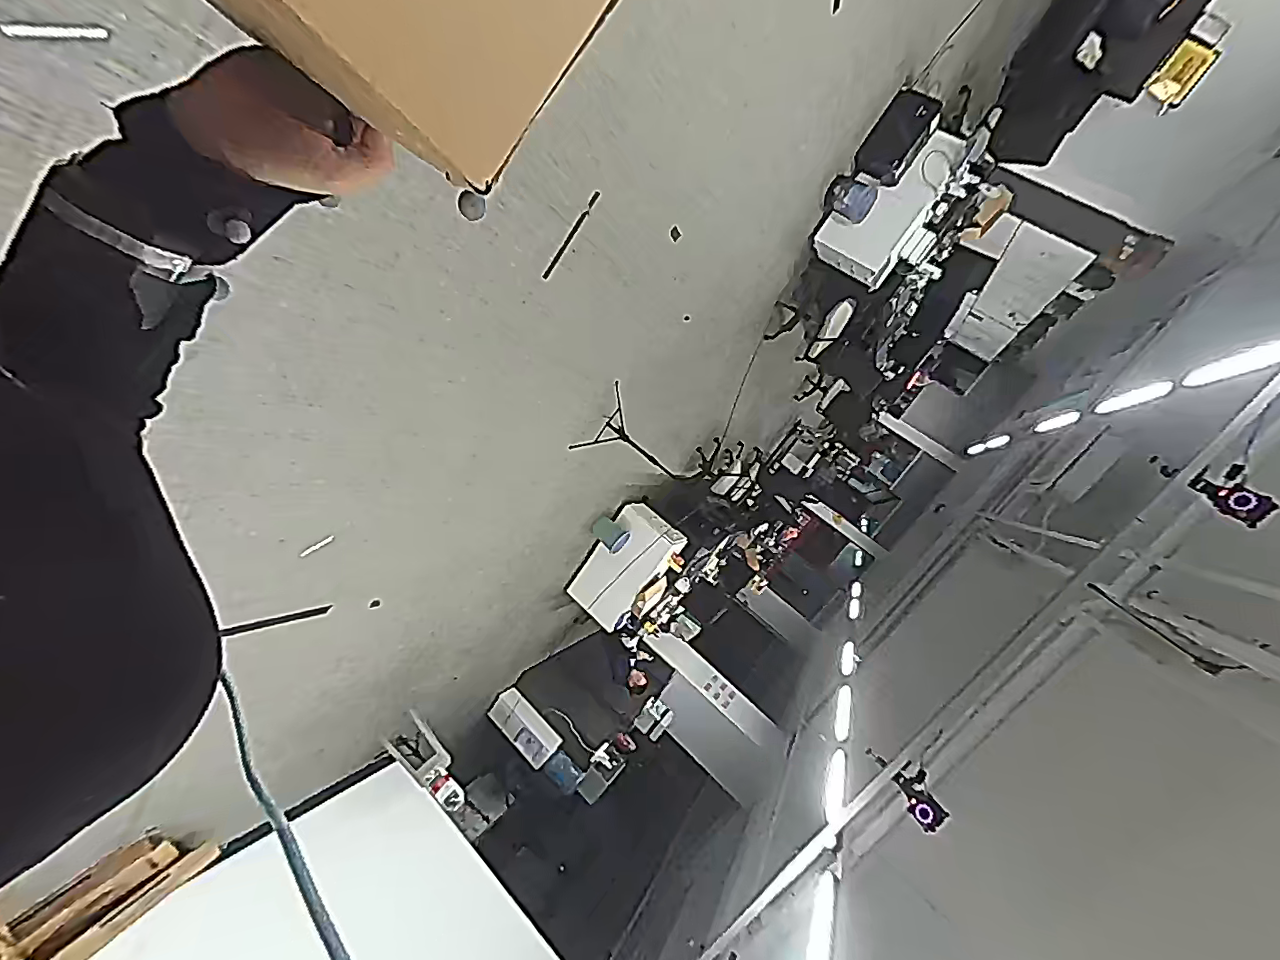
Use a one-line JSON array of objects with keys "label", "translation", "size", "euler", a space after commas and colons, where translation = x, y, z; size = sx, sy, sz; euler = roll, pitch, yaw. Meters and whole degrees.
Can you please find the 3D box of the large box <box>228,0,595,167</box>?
[{"label": "large box", "translation": [-0.157, -0.367, 0.087], "size": [0.320, 0.320, 0.408], "euler": [-51, 156, 10]}]
